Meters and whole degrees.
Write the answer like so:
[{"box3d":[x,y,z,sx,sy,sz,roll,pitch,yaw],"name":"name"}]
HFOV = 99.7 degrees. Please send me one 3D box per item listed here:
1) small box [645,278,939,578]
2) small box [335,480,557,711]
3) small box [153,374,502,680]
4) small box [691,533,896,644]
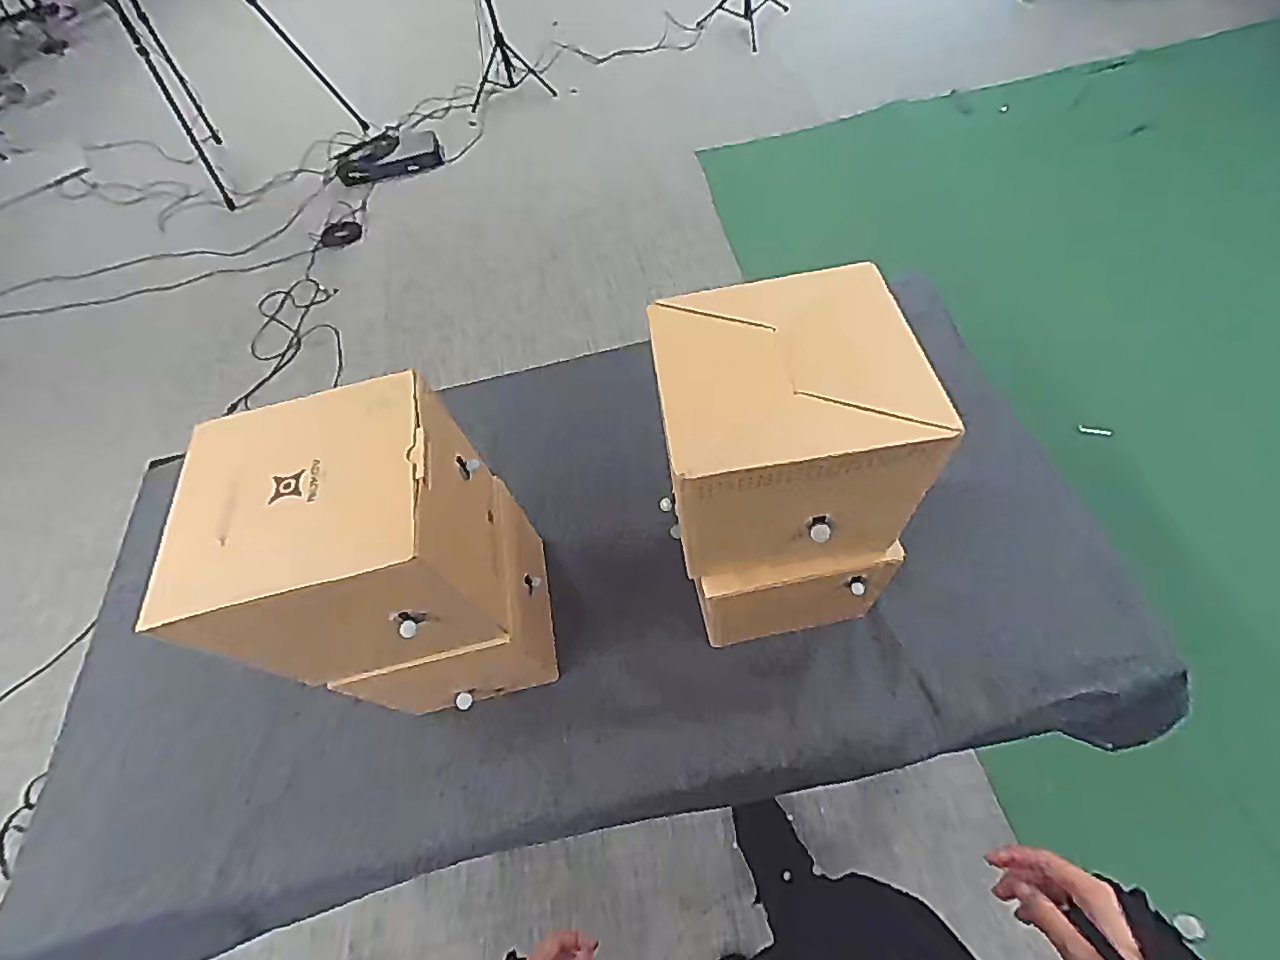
[{"box3d":[0.108,-0.038,0.441,0.179,0.176,0.168,-9,57,3],"name":"small box"},{"box3d":[-0.195,0.129,0.579,0.168,0.176,0.179,-14,58,0],"name":"small box"},{"box3d":[-0.222,0.047,0.441,0.179,0.176,0.168,-15,57,0],"name":"small box"},{"box3d":[0.135,0.061,0.574,0.179,0.176,0.168,-12,57,1],"name":"small box"}]
